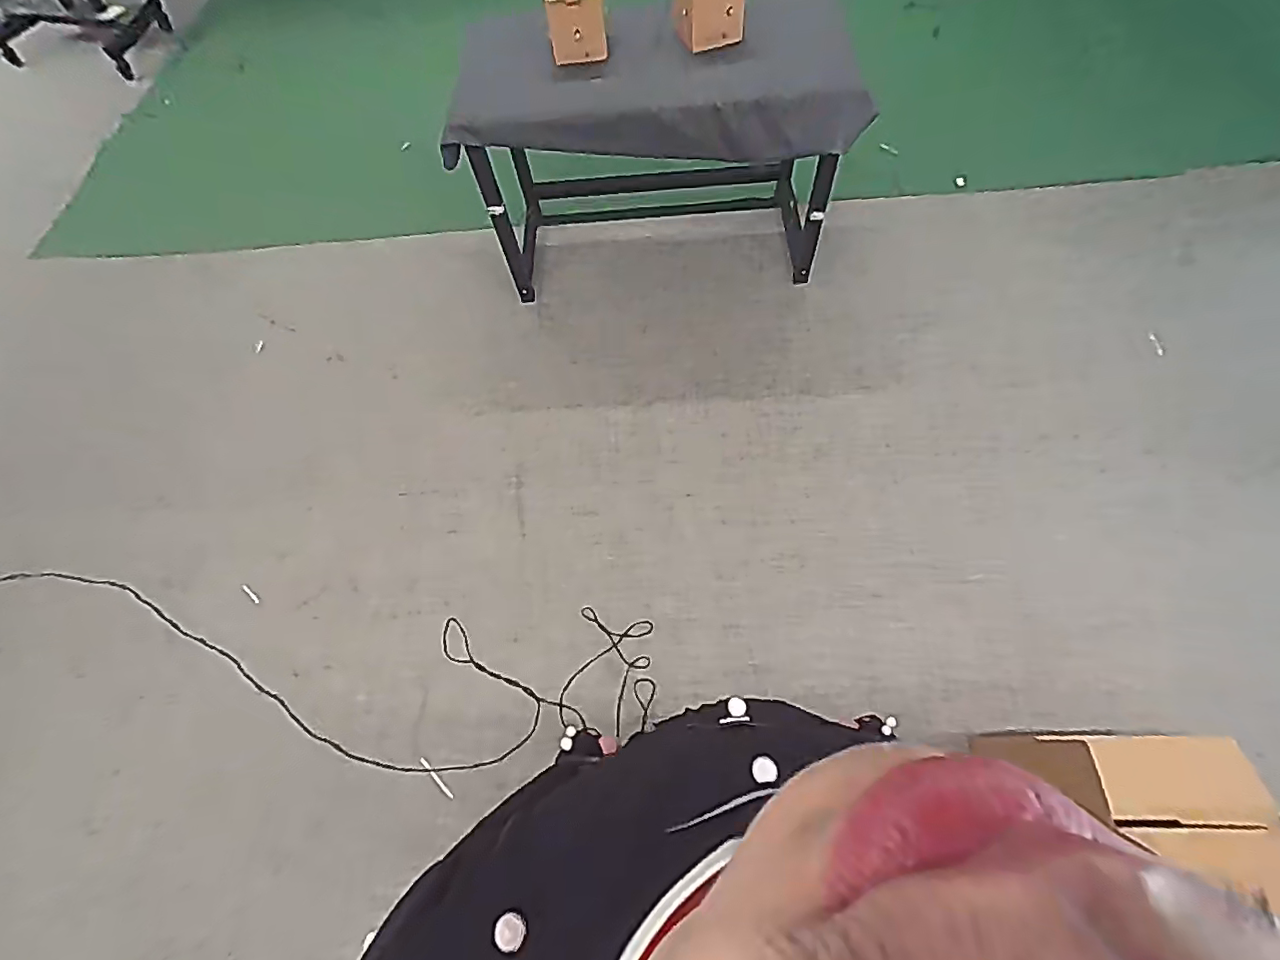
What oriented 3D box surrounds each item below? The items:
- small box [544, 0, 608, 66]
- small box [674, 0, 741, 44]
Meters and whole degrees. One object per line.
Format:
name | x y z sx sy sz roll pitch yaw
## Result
small box | -0.196 -1.414 1.670 0.168 0.176 0.179 -8 63 2
small box | 0.205 -1.454 1.635 0.168 0.176 0.179 -14 63 -5
